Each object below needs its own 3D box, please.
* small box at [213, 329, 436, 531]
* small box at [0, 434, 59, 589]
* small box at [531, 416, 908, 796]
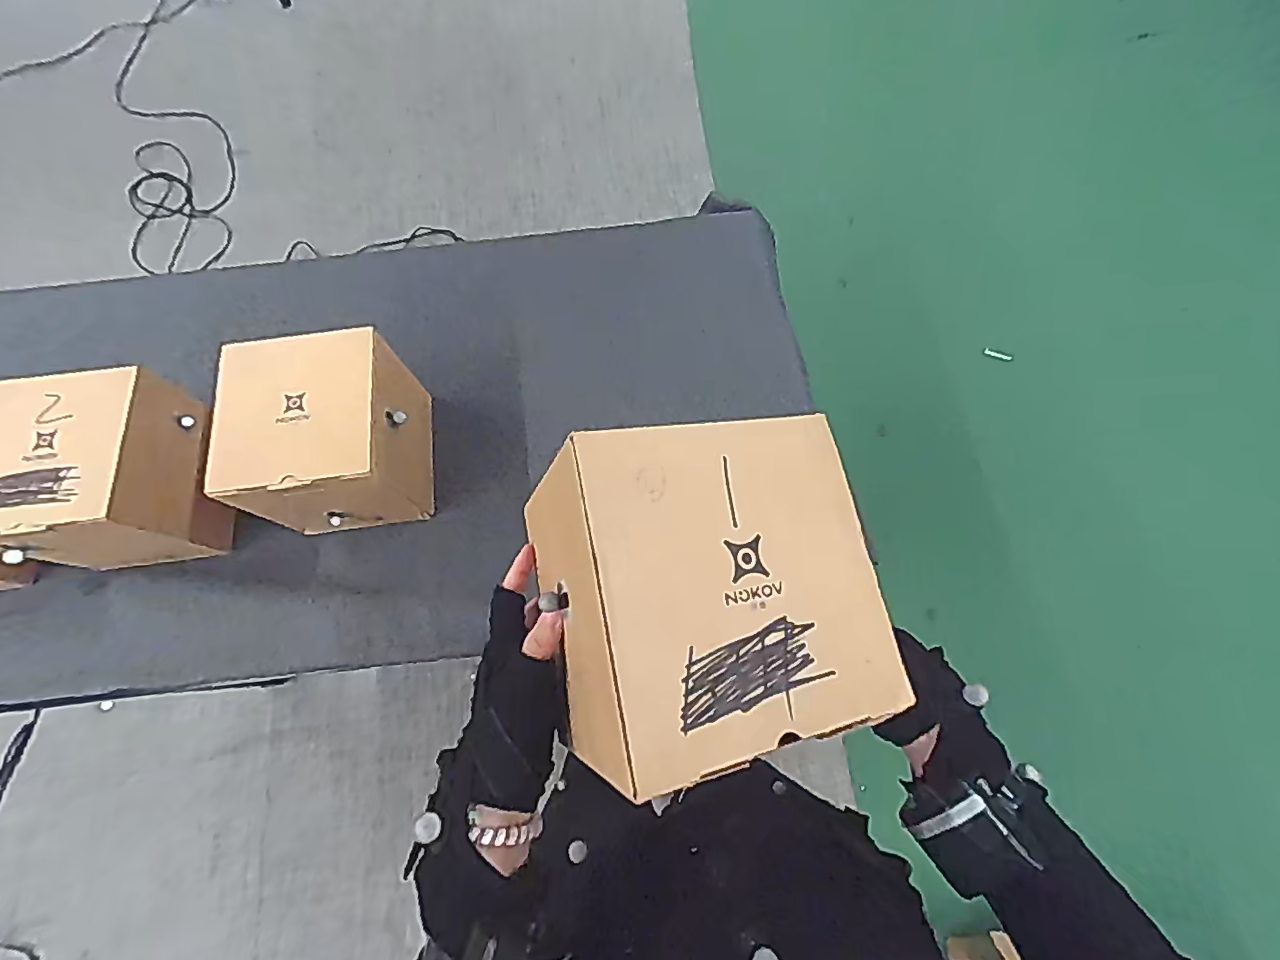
[{"bbox_3d":[-0.351,-0.051,0.638,0.168,0.176,0.179,-8,72,-2],"label":"small box"},{"bbox_3d":[-0.832,0.029,0.610,0.168,0.176,0.179,-8,71,-3],"label":"small box"},{"bbox_3d":[0.030,0.072,0.357,0.168,0.176,0.179,-6,75,-22],"label":"small box"}]
